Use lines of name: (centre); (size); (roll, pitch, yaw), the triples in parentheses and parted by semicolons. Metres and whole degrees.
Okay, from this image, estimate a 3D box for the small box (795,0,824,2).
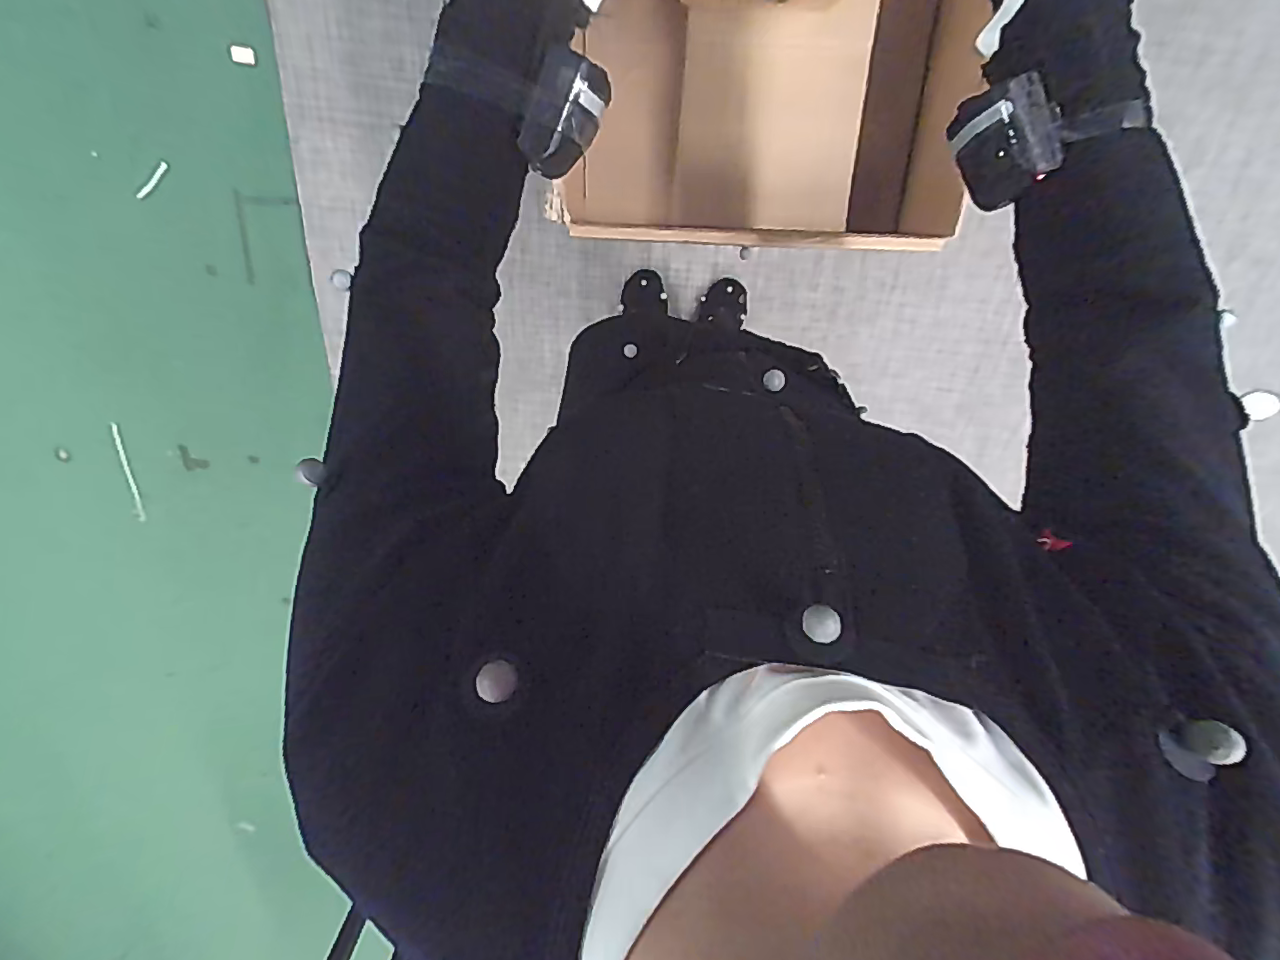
small box: (0.121, -0.537, 0.451); (0.168, 0.176, 0.179); (2, 115, 0)
